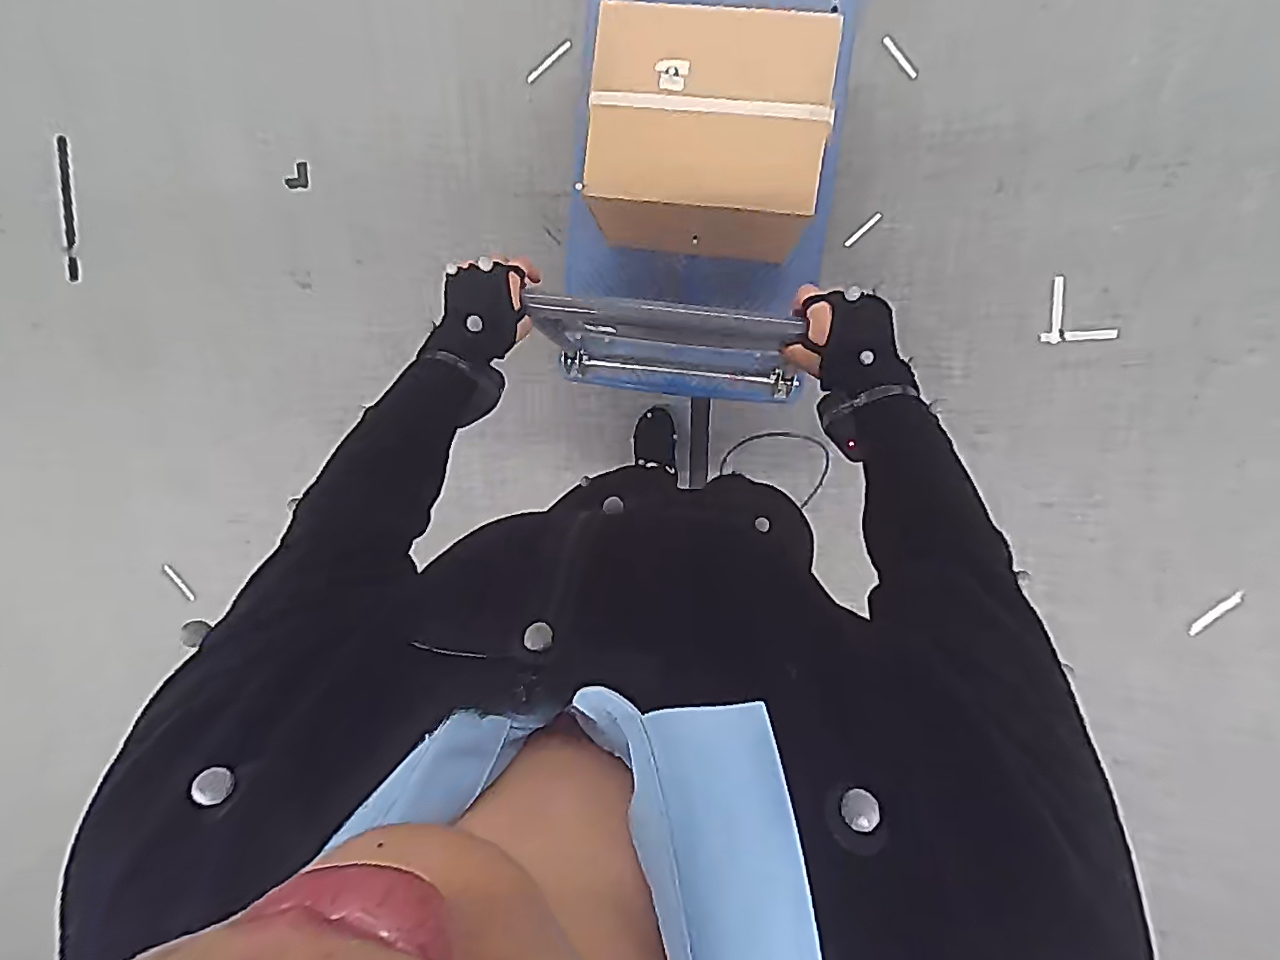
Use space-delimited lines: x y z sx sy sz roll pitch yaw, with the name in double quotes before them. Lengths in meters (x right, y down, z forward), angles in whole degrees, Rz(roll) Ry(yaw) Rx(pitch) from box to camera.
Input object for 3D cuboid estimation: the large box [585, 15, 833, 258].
"large box" 0.130 -0.653 1.083 0.408 0.320 0.320 7 97 6
